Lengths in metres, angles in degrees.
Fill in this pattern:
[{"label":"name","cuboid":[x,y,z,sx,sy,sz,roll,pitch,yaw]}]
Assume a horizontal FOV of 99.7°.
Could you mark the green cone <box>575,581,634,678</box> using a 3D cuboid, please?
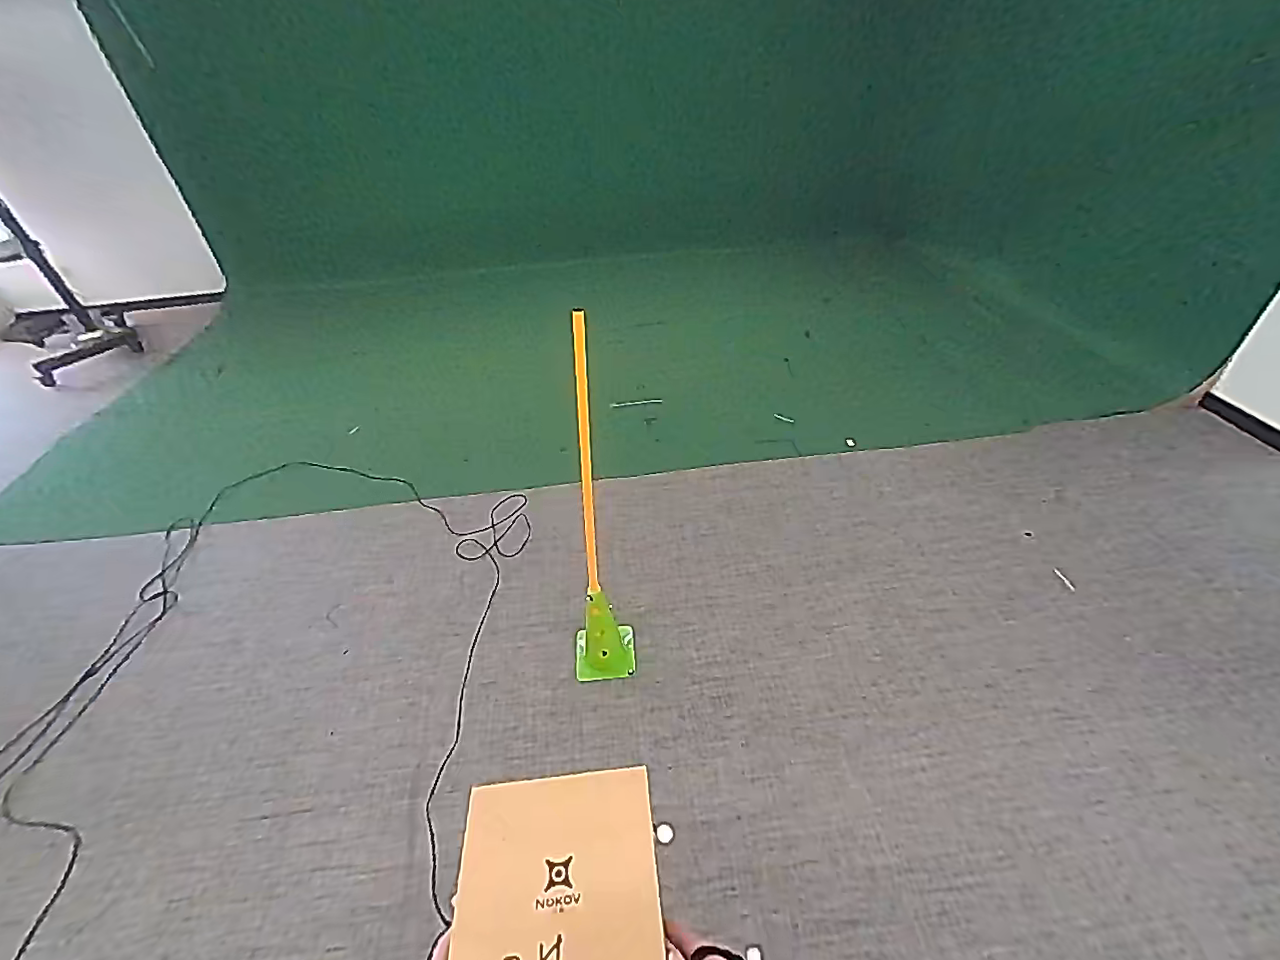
[{"label":"green cone","cuboid":[-0.138,0.456,1.770,0.202,0.368,0.200,-6,40,-1]}]
